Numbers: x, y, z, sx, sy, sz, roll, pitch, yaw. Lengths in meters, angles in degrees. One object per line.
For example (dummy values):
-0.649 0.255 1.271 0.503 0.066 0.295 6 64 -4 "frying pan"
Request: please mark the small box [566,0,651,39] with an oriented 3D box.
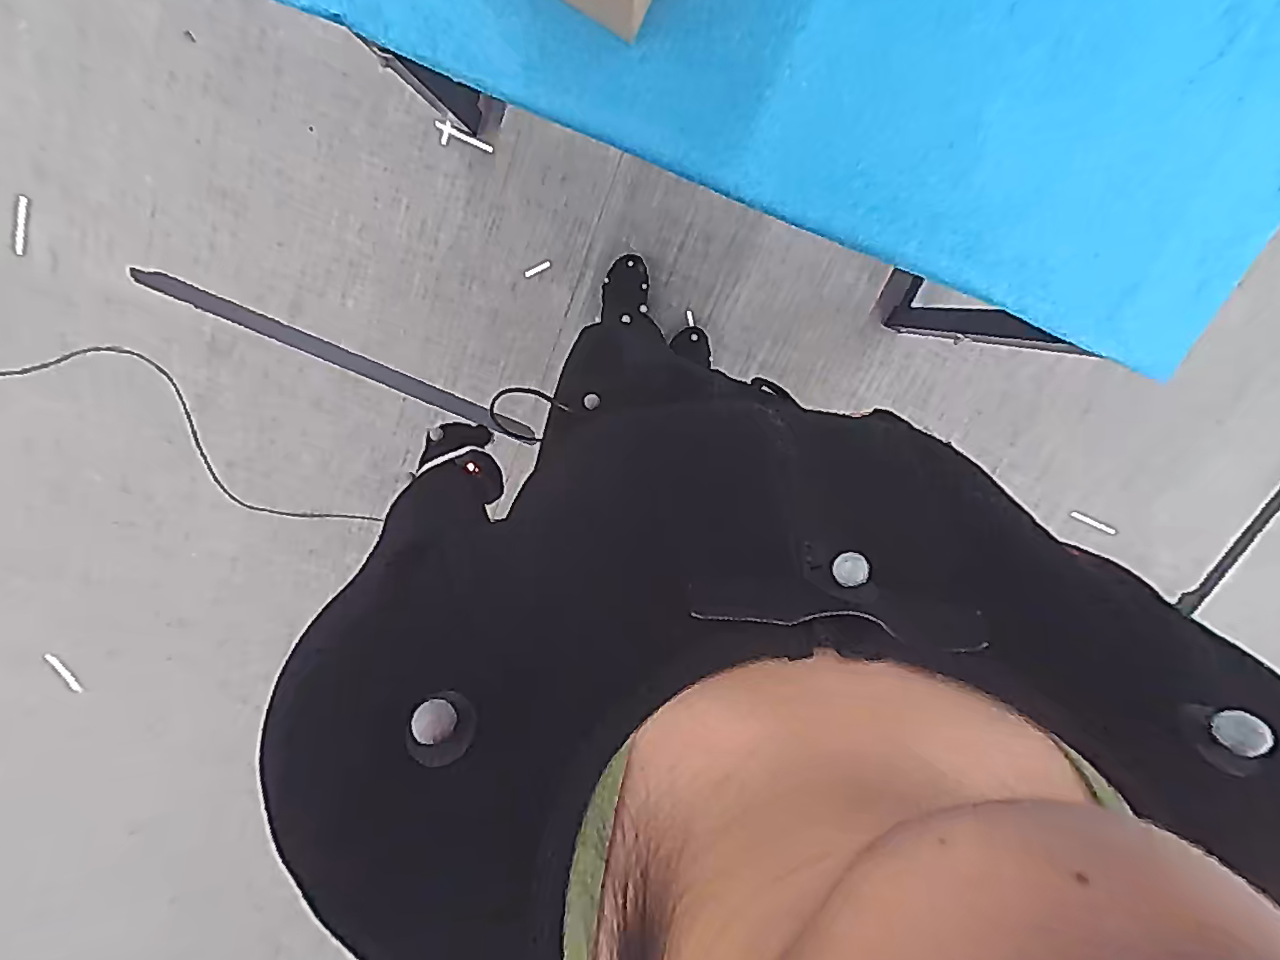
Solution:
-0.040 -0.550 0.465 0.168 0.176 0.179 26 108 -10 "small box"
